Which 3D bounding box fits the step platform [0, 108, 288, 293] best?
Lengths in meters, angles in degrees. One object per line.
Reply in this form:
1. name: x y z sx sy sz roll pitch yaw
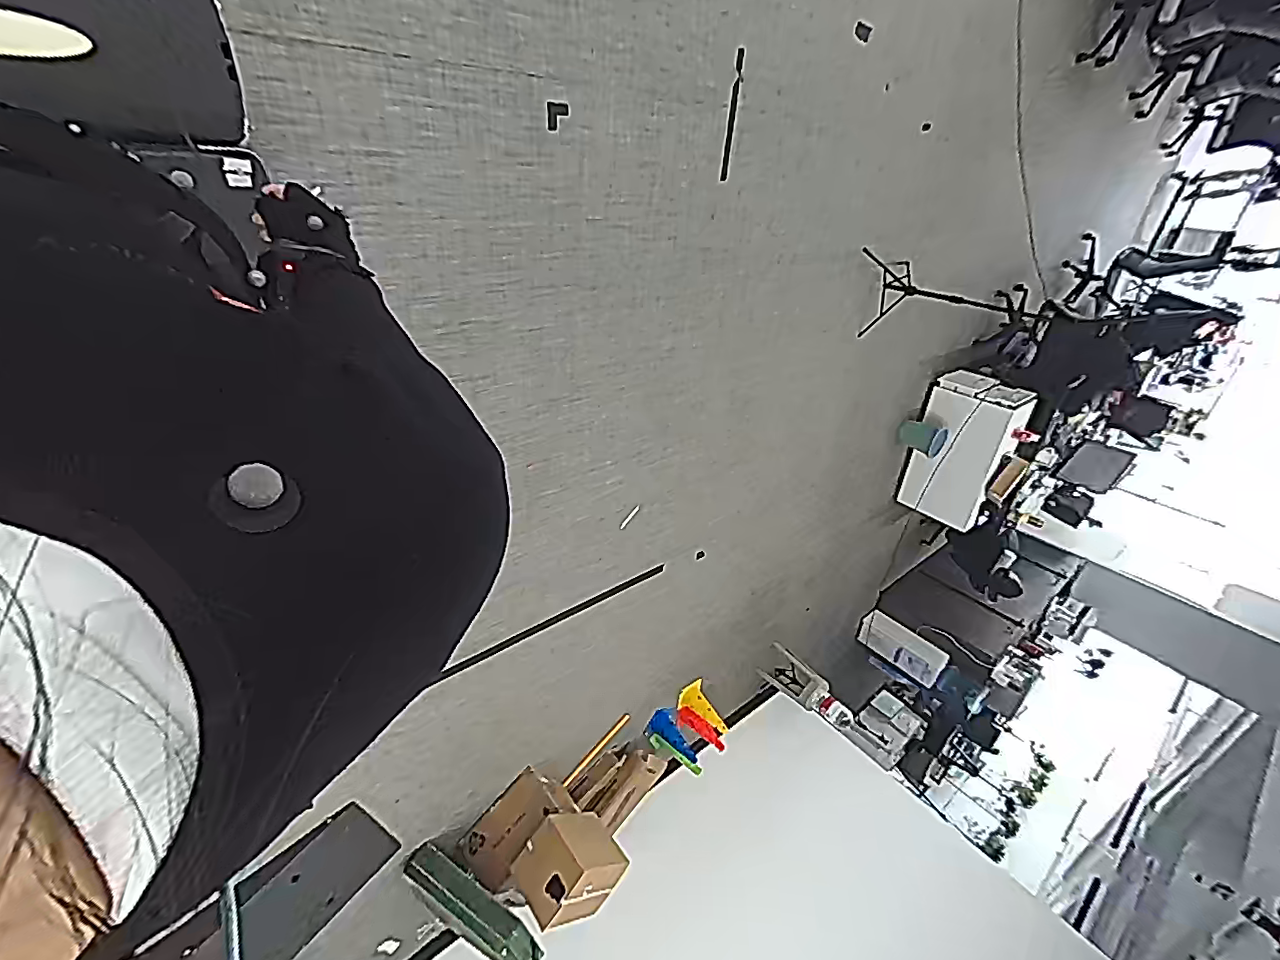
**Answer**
1. step platform: -1.059 -0.512 0.997 0.684 0.204 0.286 -19 127 -33
